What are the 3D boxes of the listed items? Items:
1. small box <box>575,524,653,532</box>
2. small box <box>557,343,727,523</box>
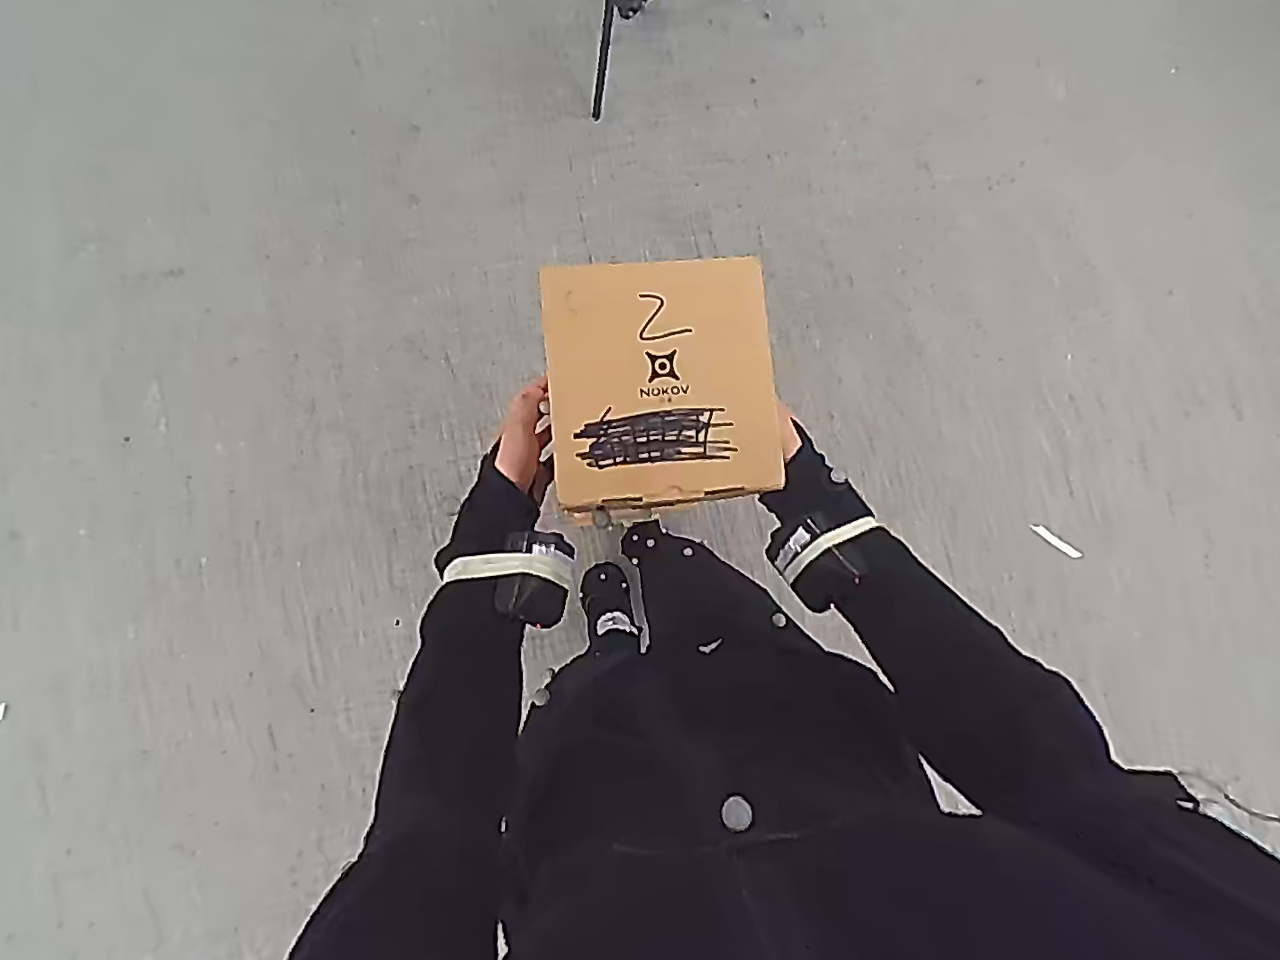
[{"bbox_3d":[-0.070,0.035,1.285,0.179,0.176,0.168,-4,85,-5],"label":"small box"},{"bbox_3d":[-0.003,-0.047,0.639,0.168,0.176,0.179,-6,87,-6],"label":"small box"}]
